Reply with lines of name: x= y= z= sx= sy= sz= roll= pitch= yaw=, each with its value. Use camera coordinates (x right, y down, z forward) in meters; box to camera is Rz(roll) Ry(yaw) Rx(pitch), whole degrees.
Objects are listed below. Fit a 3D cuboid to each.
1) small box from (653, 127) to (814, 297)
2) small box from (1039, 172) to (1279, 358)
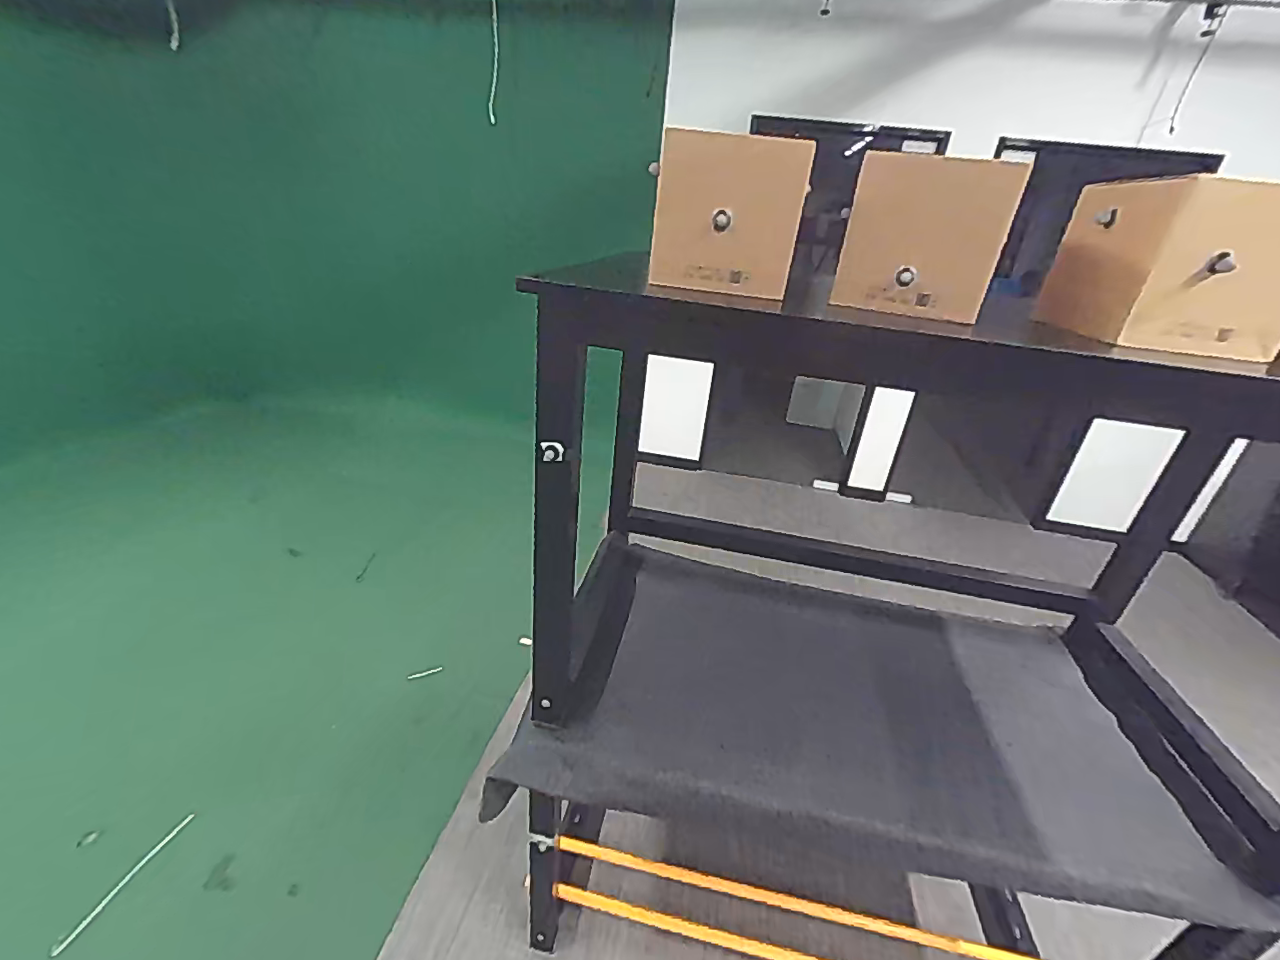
small box: x=0.112 y=-0.336 z=0.694 sx=0.168 sy=0.176 sz=0.179 roll=9 pitch=26 yaw=4
small box: x=0.612 y=-0.244 z=0.618 sx=0.168 sy=0.176 sz=0.179 roll=8 pitch=25 yaw=3
